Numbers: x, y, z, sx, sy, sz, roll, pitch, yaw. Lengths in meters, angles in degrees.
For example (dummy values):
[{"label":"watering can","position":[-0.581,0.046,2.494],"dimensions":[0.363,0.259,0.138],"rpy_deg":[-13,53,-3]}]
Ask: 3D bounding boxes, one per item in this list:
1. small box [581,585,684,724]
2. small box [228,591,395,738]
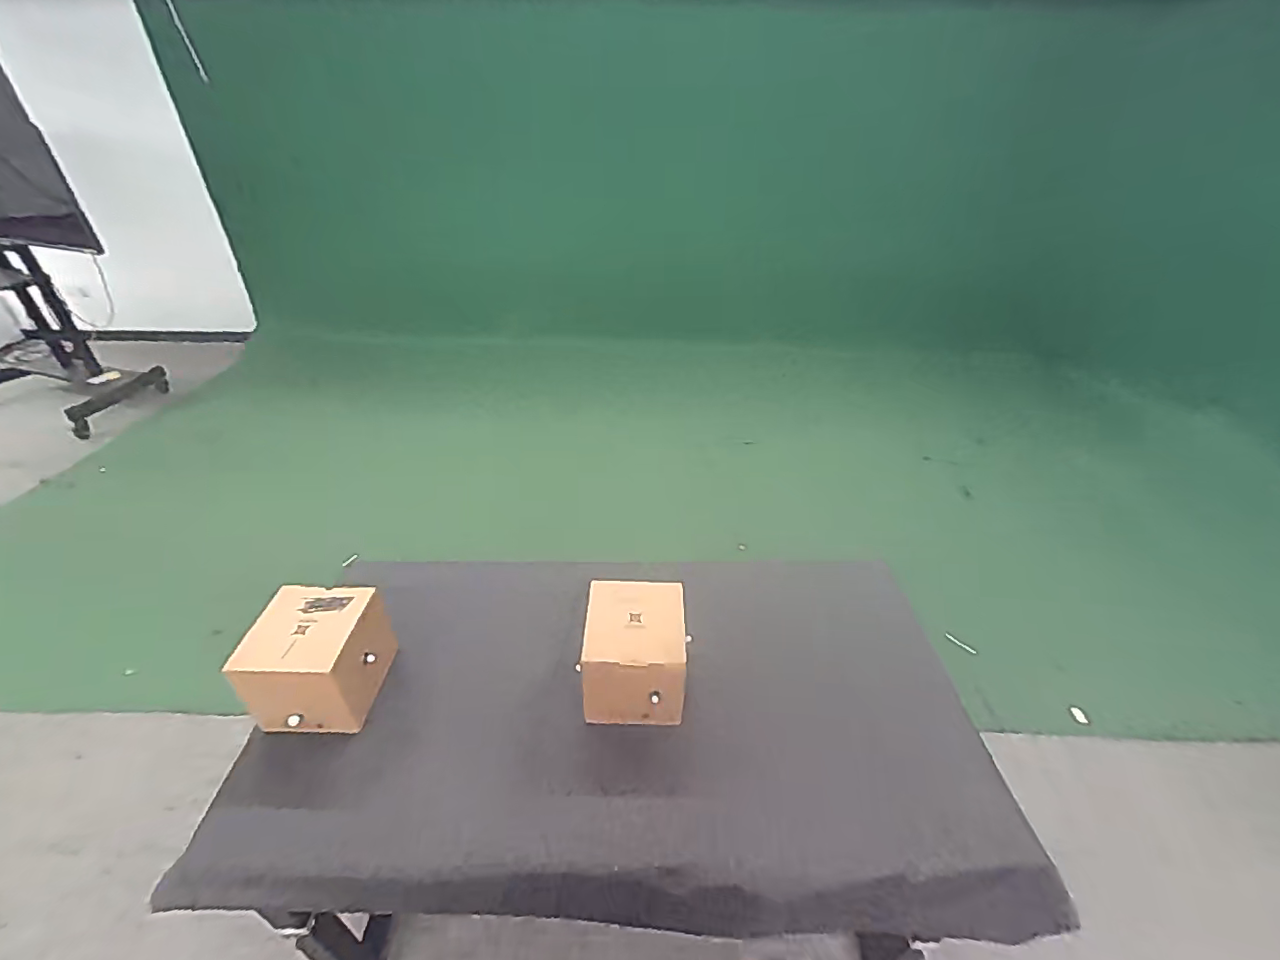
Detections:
[{"label":"small box","position":[-0.012,0.308,0.953],"dimensions":[0.168,0.176,0.179],"rpy_deg":[2,34,-1]},{"label":"small box","position":[-0.542,0.313,0.926],"dimensions":[0.168,0.176,0.179],"rpy_deg":[1,36,0]}]
